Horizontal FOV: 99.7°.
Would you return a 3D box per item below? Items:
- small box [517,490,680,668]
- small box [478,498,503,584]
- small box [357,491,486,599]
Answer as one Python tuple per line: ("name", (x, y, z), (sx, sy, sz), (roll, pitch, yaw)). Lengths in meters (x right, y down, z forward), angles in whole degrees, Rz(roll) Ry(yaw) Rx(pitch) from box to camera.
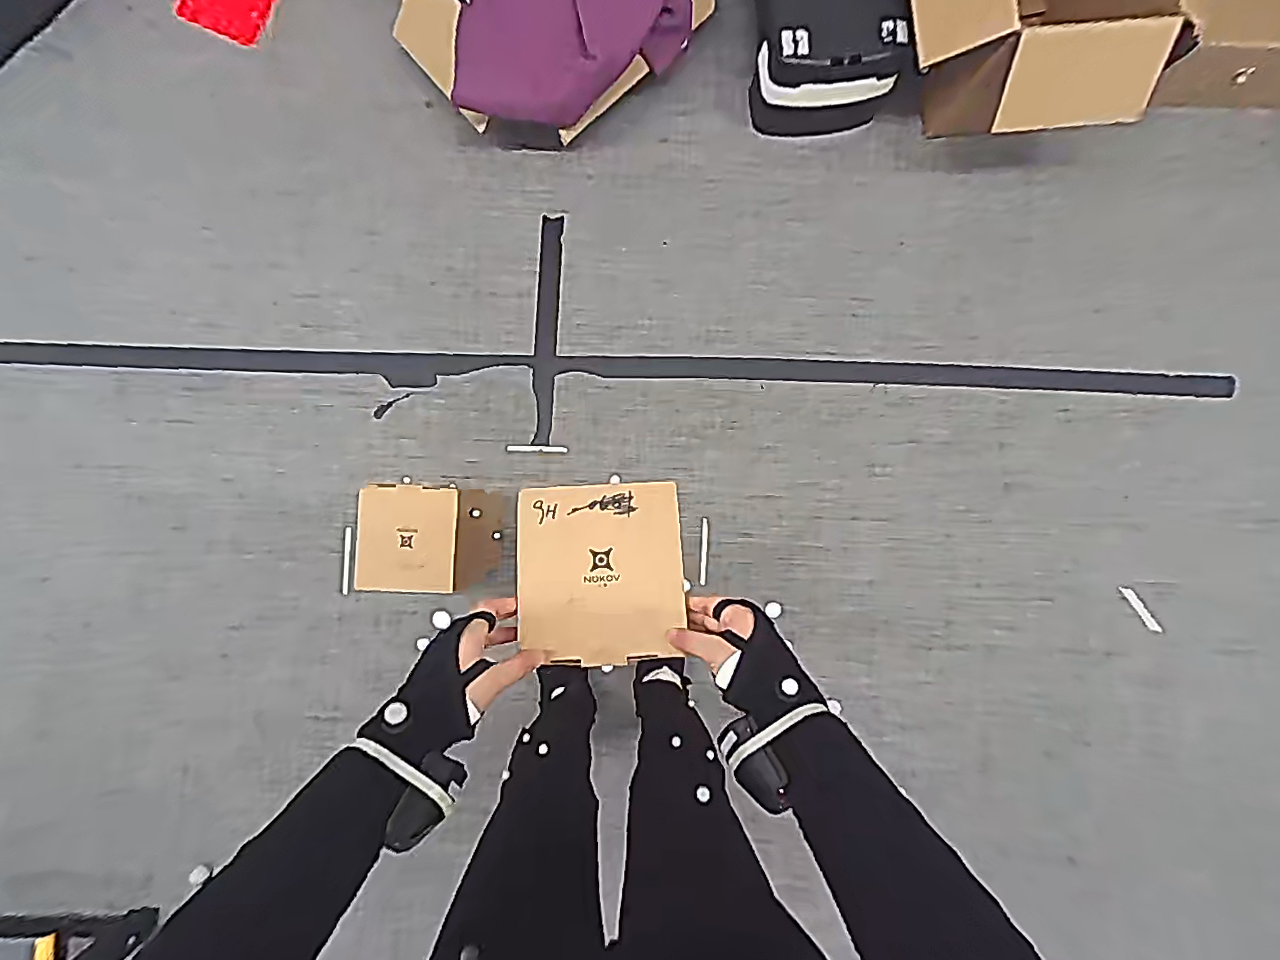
("small box", (-0.043, 0.116, 0.630), (0.168, 0.176, 0.179), (-3, 76, -1))
("small box", (-0.395, 0.119, 1.140), (0.179, 0.176, 0.168), (4, 88, -1))
("small box", (-0.384, 0.110, 0.978), (0.168, 0.176, 0.179), (2, 90, 0))
